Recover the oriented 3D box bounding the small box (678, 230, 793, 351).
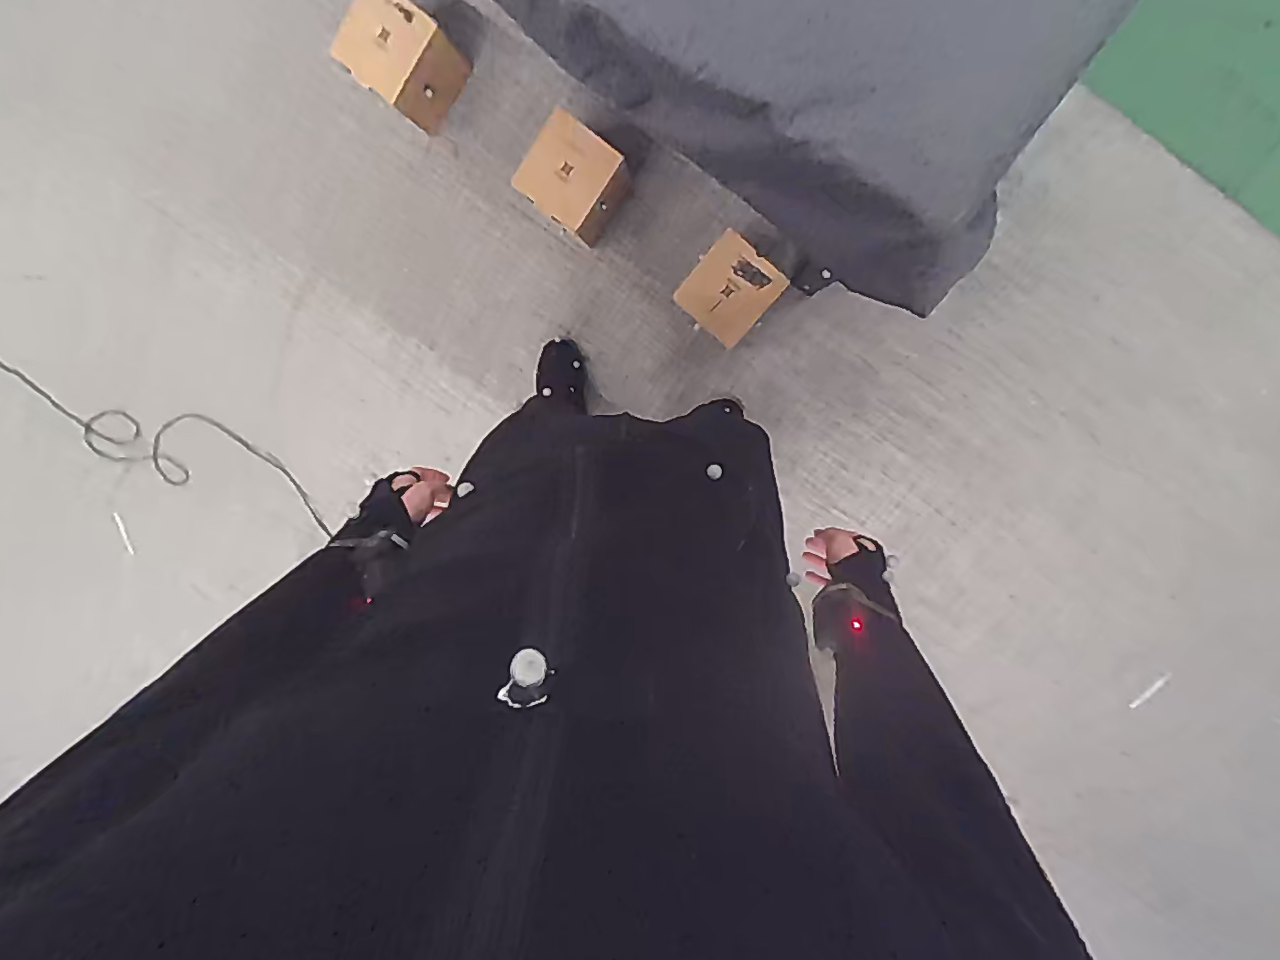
[{"bbox_3d":[0.200,-0.398,1.165,0.168,0.176,0.179,40,106,-2],"label":"small box"}]

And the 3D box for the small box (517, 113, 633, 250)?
[{"bbox_3d":[-0.131,-0.627,1.164,0.168,0.176,0.179,36,103,-2],"label":"small box"}]
